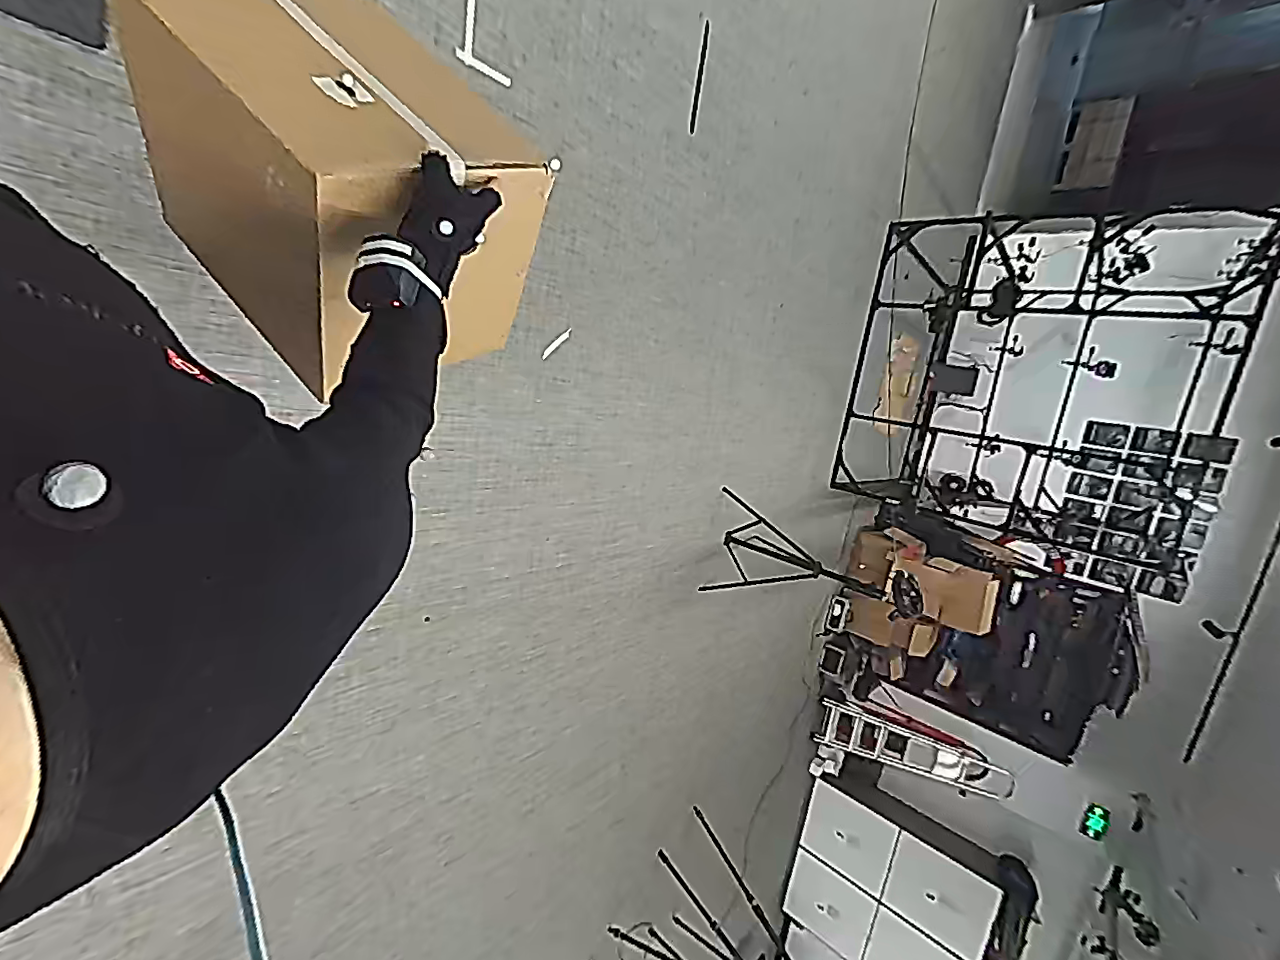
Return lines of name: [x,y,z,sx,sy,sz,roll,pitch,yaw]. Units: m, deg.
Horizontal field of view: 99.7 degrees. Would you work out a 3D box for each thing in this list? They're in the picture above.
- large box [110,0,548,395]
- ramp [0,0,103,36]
large box: [-0.409,-0.393,0.747,0.320,0.408,0.320,-35,167,-43]
ramp: [-0.981,-1.233,0.646,0.509,0.206,0.991,-6,109,-50]
